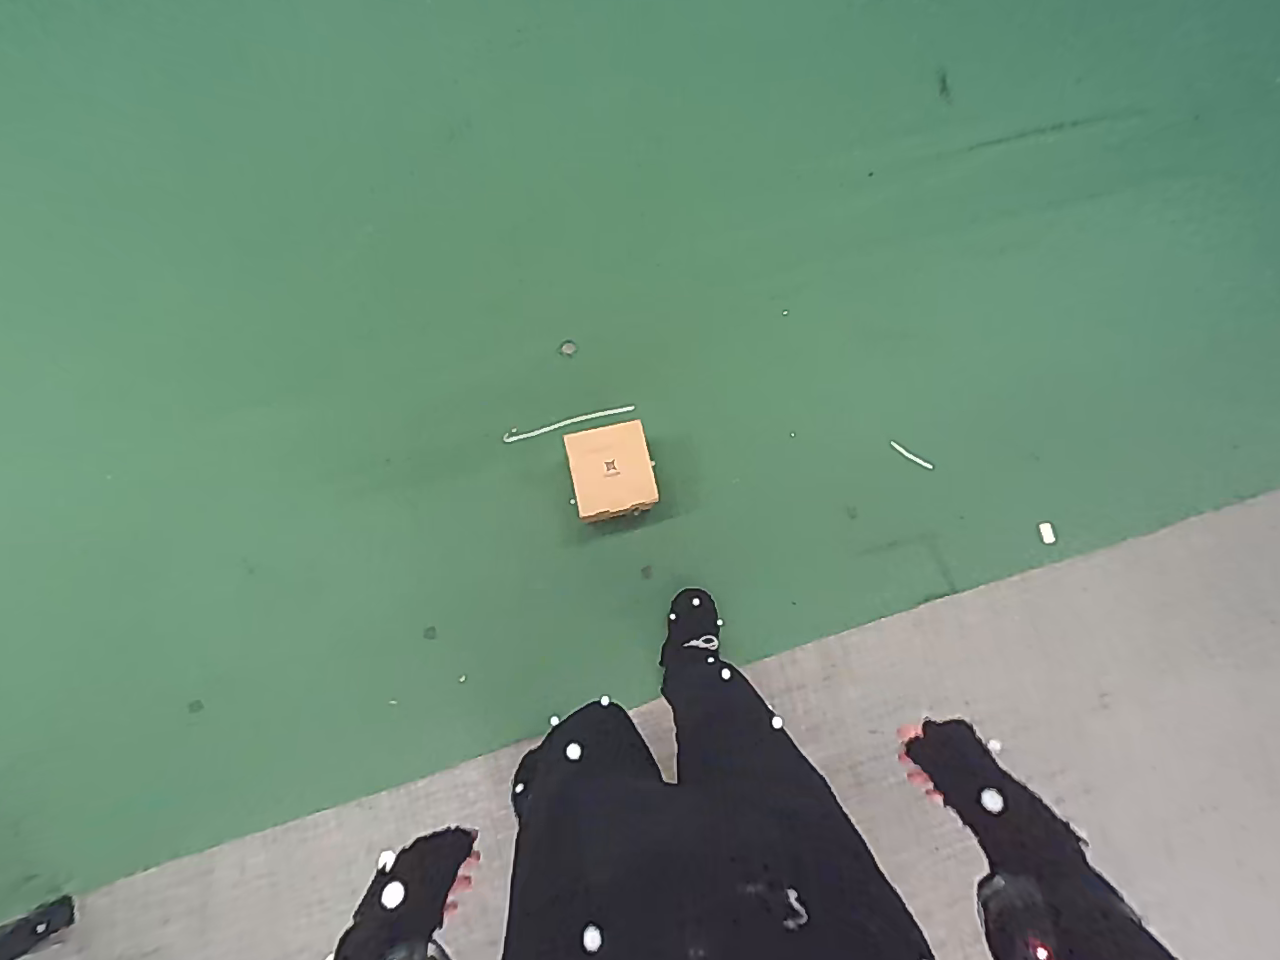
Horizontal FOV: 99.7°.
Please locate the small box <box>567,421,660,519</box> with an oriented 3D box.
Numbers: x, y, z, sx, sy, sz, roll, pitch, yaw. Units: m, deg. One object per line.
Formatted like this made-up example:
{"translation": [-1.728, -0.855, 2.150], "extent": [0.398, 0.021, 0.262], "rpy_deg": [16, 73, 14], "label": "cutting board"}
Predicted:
{"translation": [-0.060, -0.014, 1.162], "extent": [0.168, 0.176, 0.179], "rpy_deg": [-10, 82, -7], "label": "small box"}
